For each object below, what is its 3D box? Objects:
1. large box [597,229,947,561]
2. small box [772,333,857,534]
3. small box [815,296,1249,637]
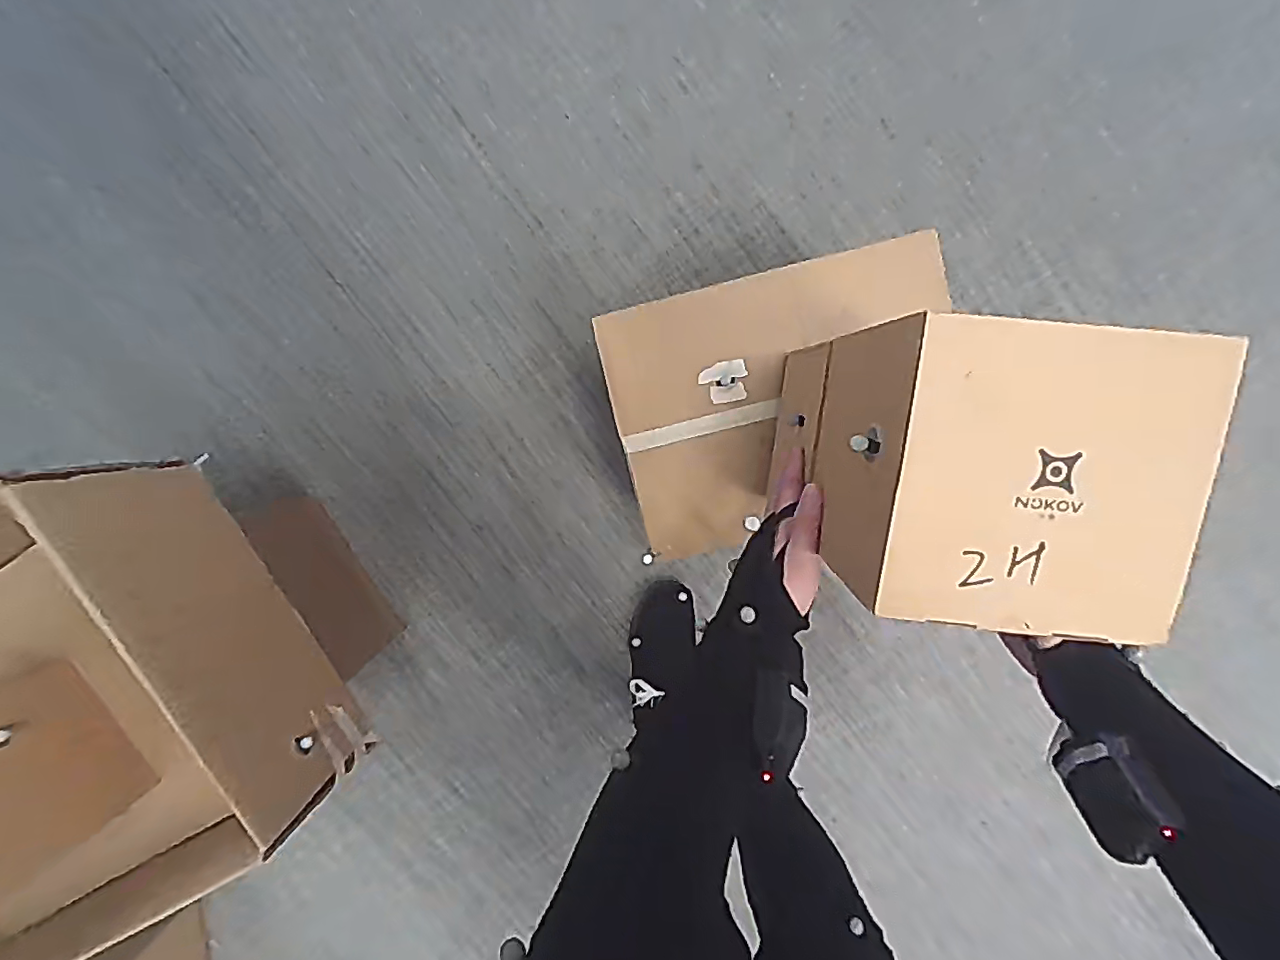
[{"bbox_3d":[0.185,-0.113,0.788,0.408,0.320,0.320,-13,97,5],"label":"large box"},{"bbox_3d":[0.238,-0.042,0.541,0.168,0.176,0.179,6,100,2],"label":"small box"},{"bbox_3d":[0.232,-0.016,0.376,0.168,0.176,0.179,6,100,2],"label":"small box"}]
